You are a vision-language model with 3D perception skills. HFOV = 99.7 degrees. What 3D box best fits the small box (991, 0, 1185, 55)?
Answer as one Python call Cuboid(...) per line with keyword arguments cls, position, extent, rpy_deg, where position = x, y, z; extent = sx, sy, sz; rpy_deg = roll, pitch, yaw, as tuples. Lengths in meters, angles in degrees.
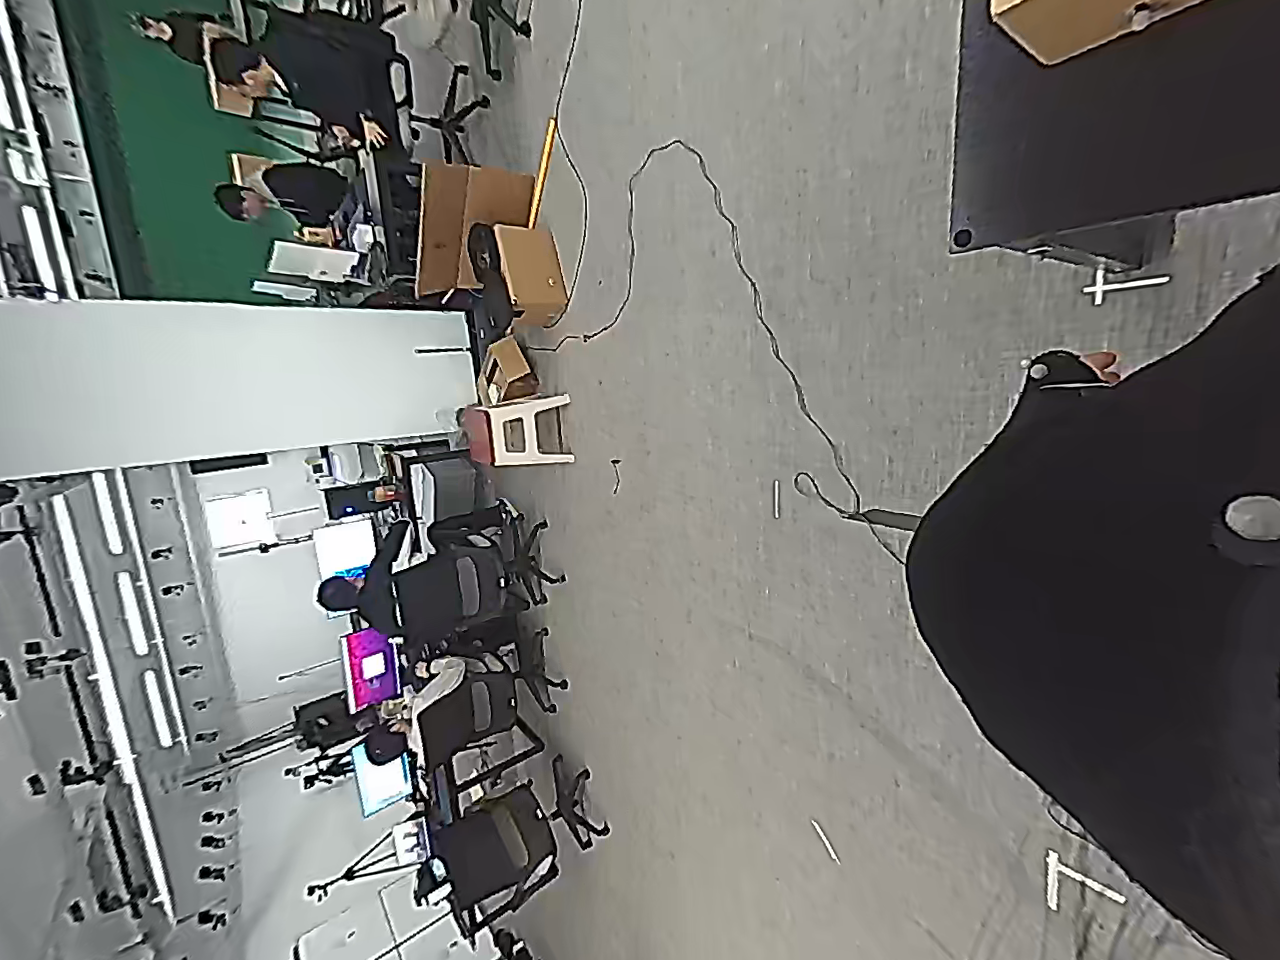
Cuboid(cls="small box", position=(0.443, -0.533, 0.484), extent=(0.179, 0.176, 0.168), rpy_deg=(7, 105, 51))
